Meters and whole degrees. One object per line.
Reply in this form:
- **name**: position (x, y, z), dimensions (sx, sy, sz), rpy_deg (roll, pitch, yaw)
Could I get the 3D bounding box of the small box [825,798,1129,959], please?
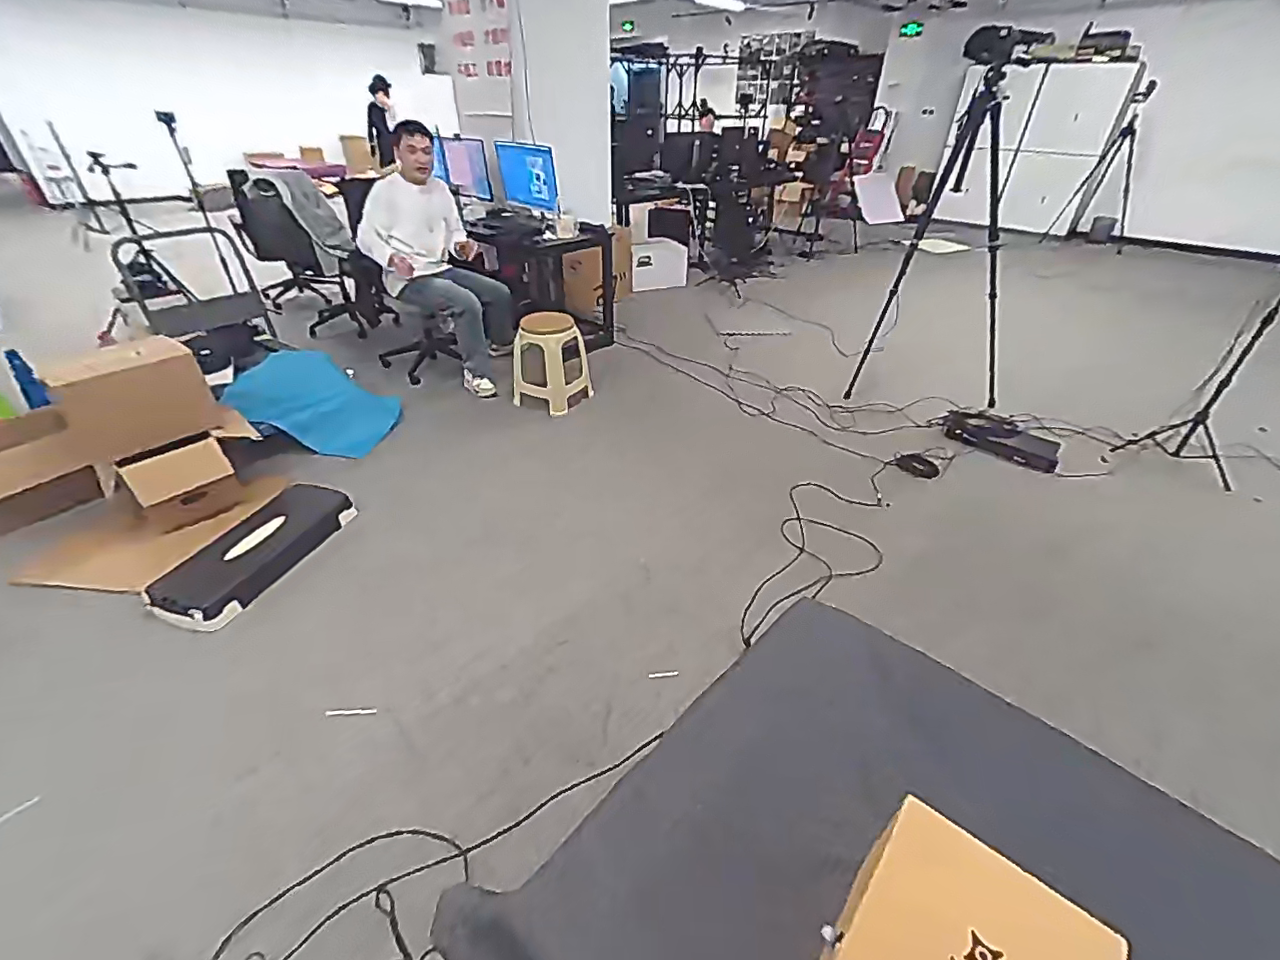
- **small box**: position (0.256, 0.423, 0.448), dimensions (0.168, 0.176, 0.179), rpy_deg (27, 42, 31)
